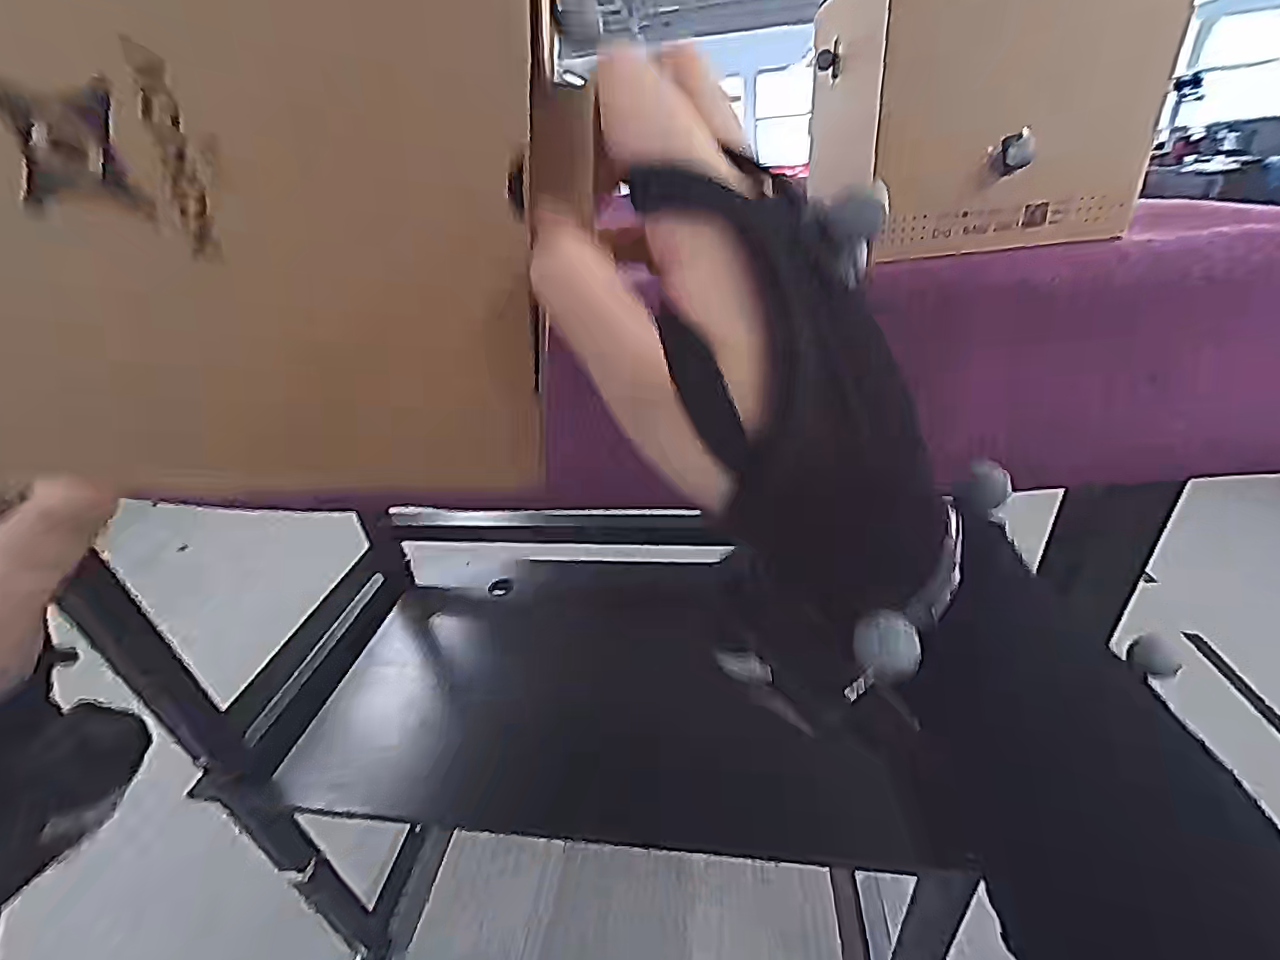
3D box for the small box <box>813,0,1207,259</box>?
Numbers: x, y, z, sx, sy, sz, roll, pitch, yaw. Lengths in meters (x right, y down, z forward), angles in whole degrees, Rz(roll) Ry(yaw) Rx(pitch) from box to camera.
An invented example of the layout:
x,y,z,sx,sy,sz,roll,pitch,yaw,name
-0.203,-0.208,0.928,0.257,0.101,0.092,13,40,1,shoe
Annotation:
x,y,z,sx,sy,sz,roll,pitch,yaw,name
0.228,-0.260,0.385,0.168,0.176,0.179,-4,30,4,small box
